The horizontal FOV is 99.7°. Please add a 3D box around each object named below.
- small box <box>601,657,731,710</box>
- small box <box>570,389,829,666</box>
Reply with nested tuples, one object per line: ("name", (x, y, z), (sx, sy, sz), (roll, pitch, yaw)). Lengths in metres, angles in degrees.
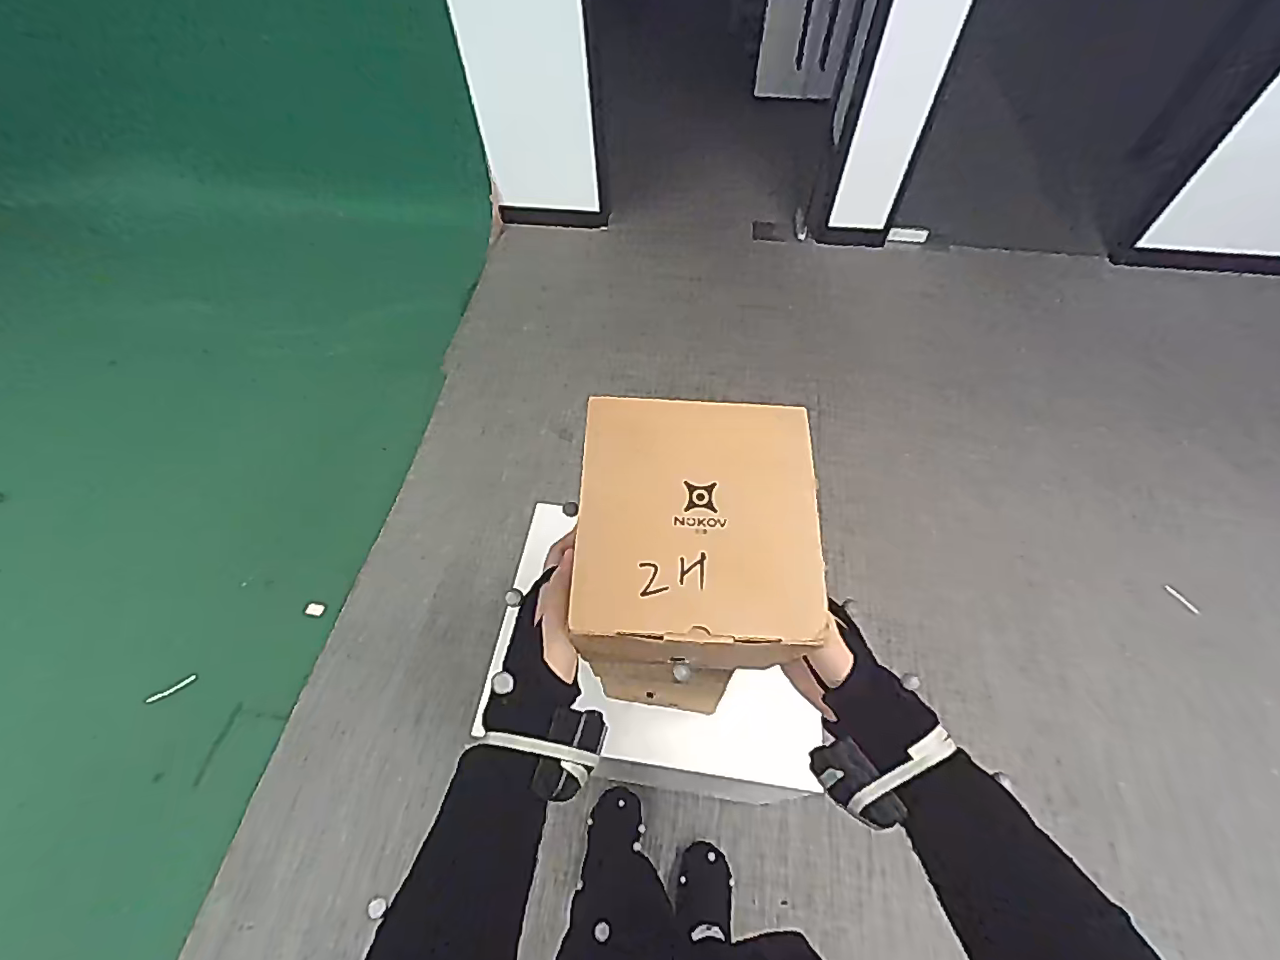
("small box", (0.043, 0.216, 0.782), (0.168, 0.176, 0.179), (6, 58, 5))
("small box", (0.038, 0.048, 0.444), (0.168, 0.176, 0.179), (3, 65, 0))
